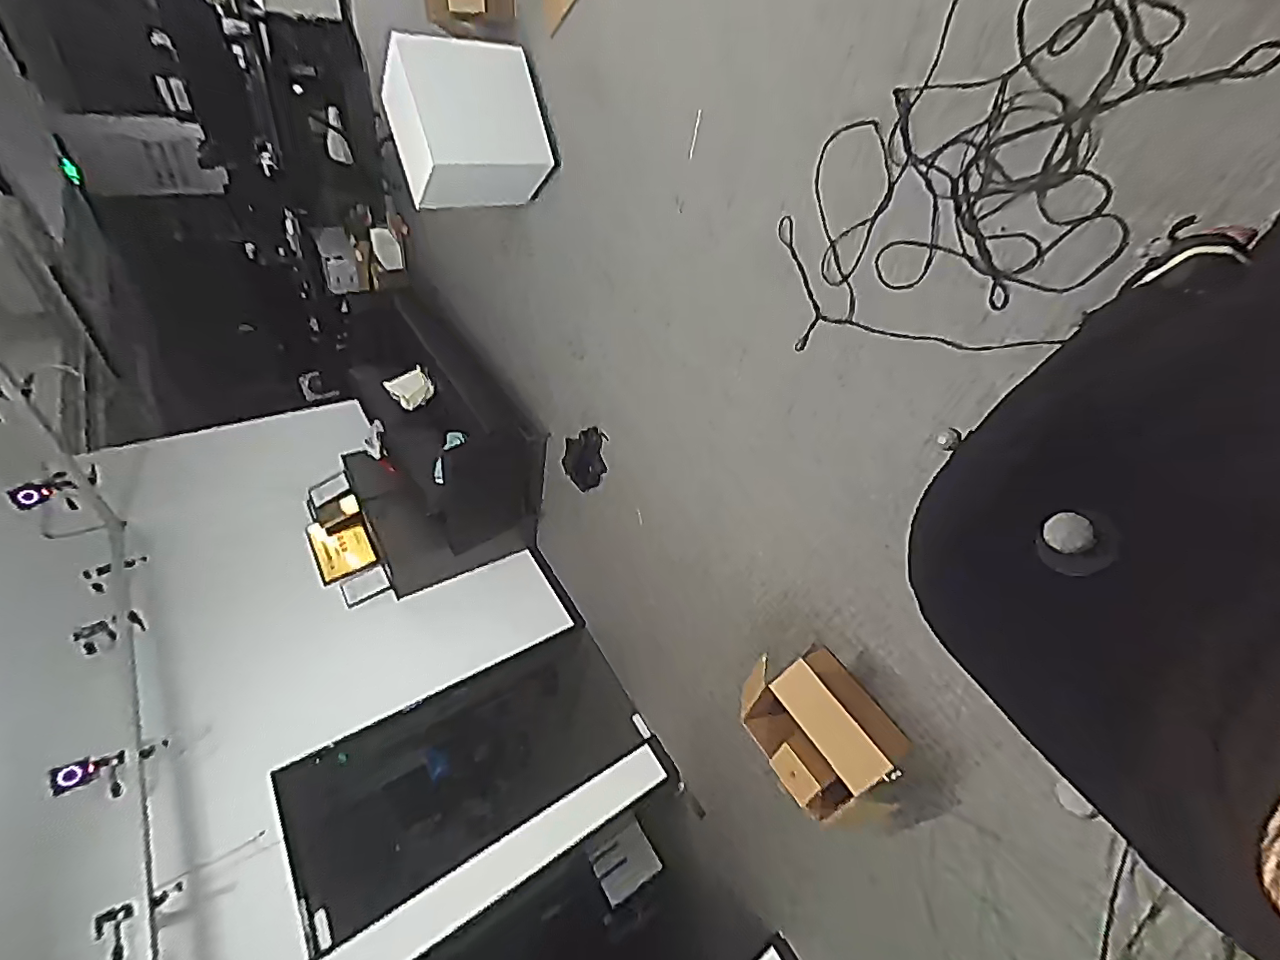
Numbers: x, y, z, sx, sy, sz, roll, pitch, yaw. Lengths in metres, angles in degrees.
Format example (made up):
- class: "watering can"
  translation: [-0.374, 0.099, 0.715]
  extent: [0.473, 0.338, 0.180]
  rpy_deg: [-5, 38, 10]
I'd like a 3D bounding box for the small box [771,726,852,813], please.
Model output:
- class: "small box"
  translation: [0.579, 0.972, 1.821]
  extent: [0.168, 0.176, 0.179]
  rpy_deg: [49, 141, 35]
